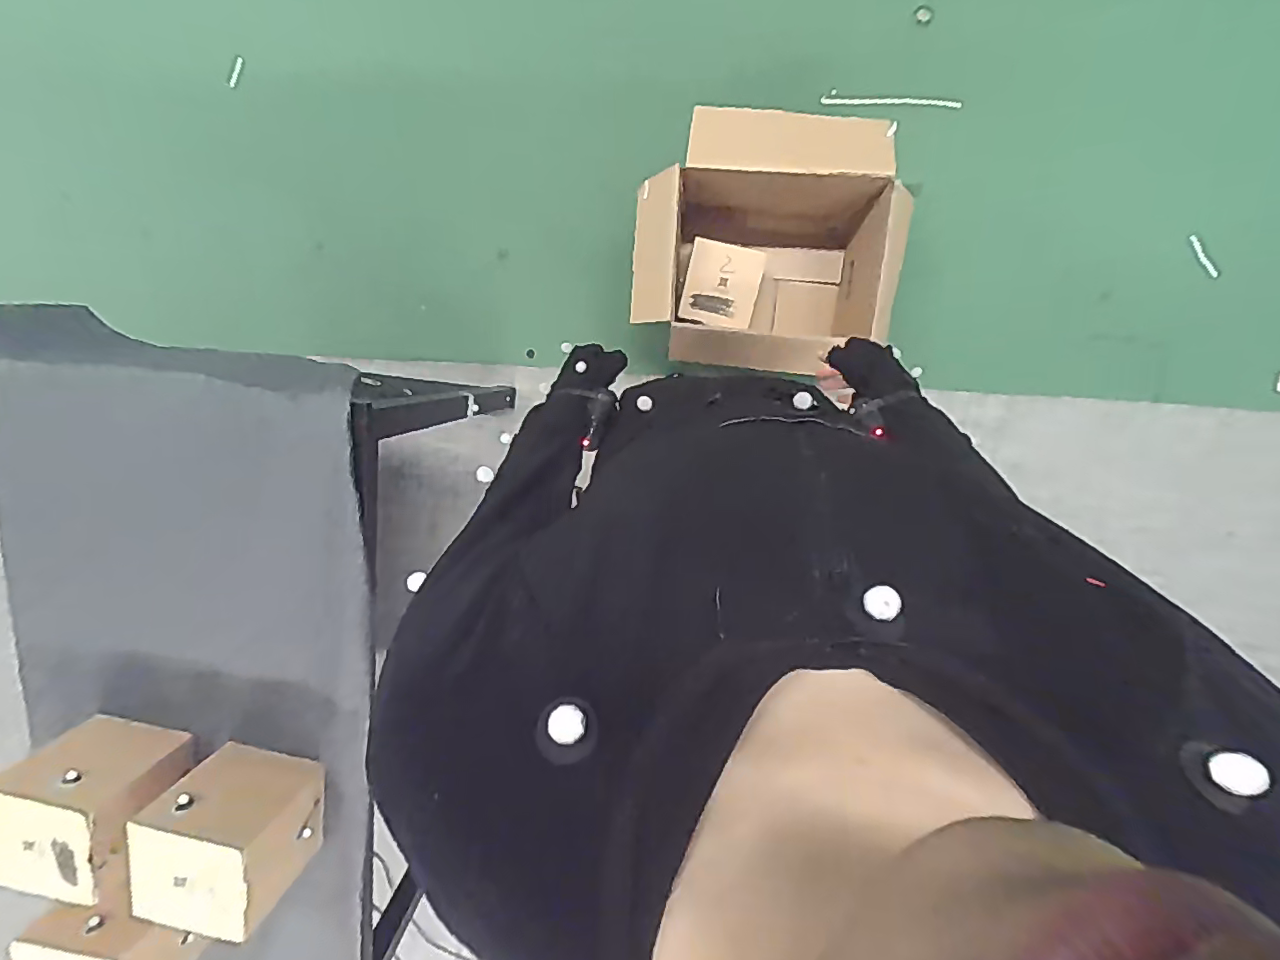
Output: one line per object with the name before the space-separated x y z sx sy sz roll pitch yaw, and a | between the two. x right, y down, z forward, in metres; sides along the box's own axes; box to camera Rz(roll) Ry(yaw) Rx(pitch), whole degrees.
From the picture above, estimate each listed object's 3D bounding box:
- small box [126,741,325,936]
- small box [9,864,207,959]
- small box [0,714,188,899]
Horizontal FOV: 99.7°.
small box | -0.623 0.534 0.829 0.179 0.176 0.168 10 103 3
small box | -0.864 0.752 0.899 0.179 0.176 0.168 8 103 2
small box | -0.849 0.493 0.840 0.179 0.176 0.168 10 103 2
